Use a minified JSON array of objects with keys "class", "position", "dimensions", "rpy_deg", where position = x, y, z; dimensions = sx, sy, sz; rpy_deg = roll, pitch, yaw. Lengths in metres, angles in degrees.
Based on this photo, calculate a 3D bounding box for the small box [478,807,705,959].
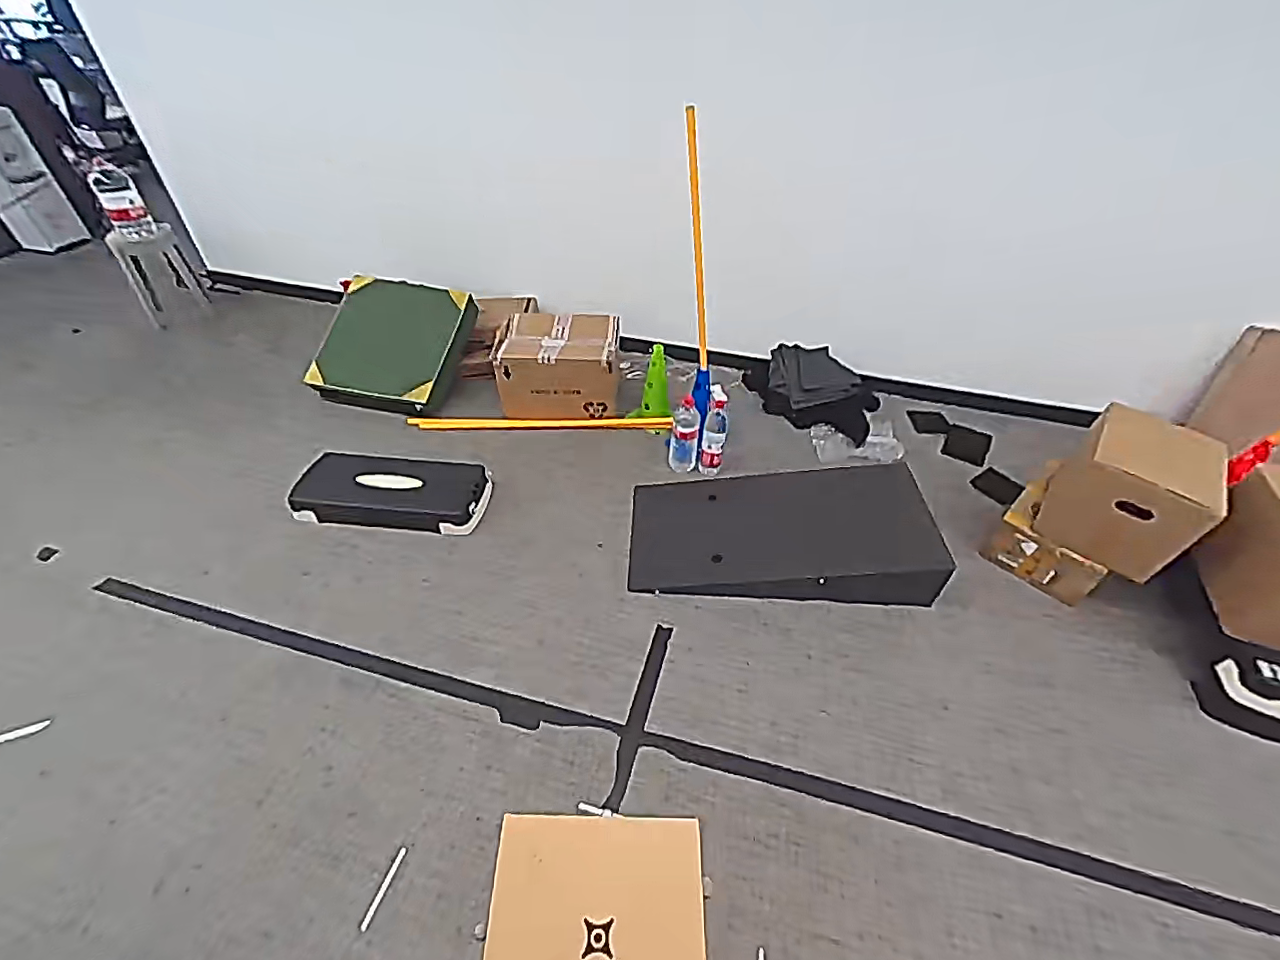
[{"class":"small box","position":[-0.041,0.388,0.449],"dimensions":[0.168,0.176,0.179],"rpy_deg":[4,51,-3]}]
